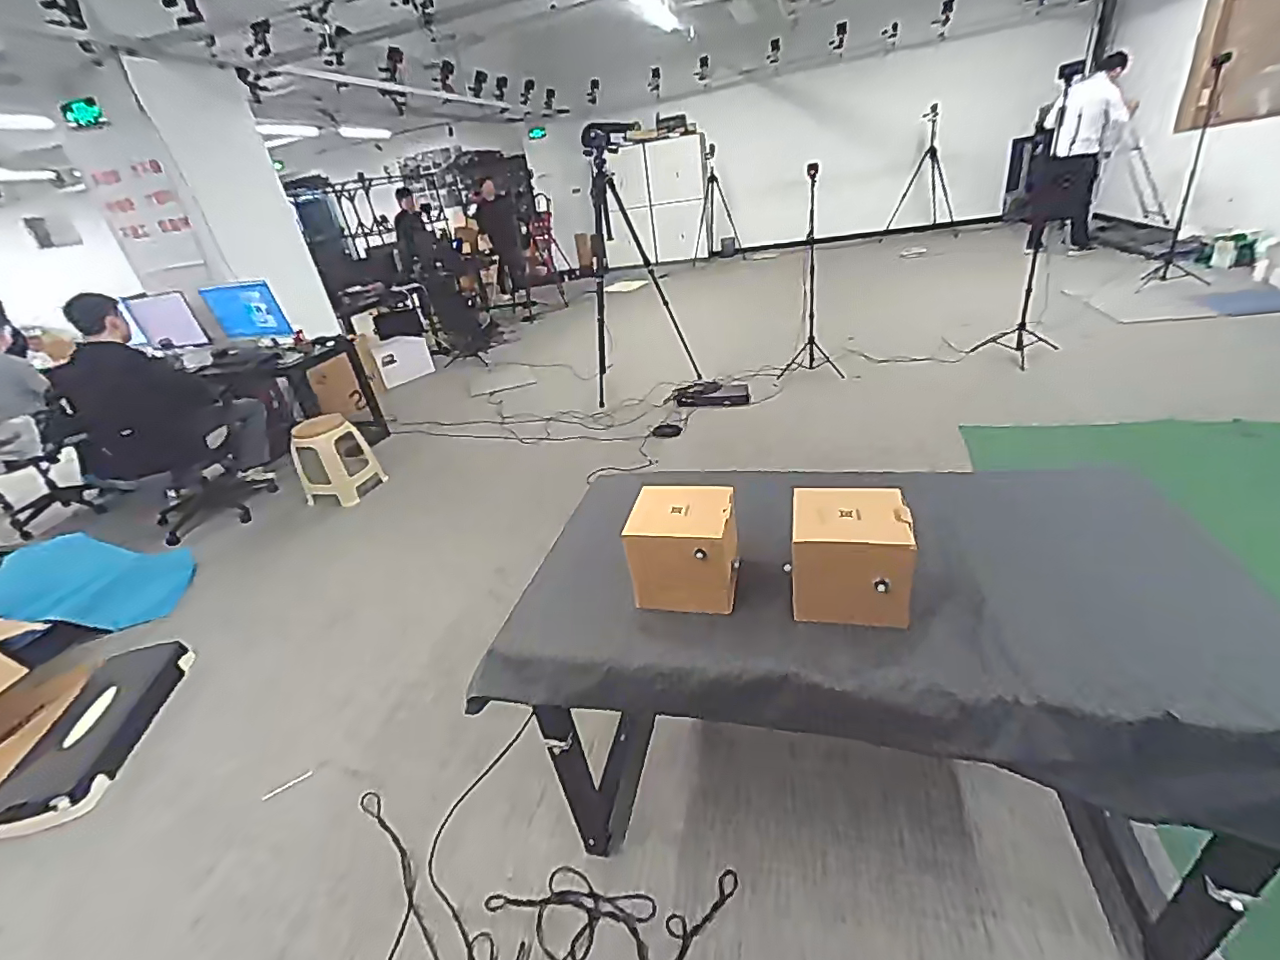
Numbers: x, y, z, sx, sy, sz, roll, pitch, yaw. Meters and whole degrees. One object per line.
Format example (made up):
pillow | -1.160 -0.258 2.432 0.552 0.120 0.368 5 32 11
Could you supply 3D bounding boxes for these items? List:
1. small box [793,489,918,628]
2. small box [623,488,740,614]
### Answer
small box | 0.351 0.129 0.906 0.179 0.176 0.168 -2 28 18
small box | 0.085 0.129 0.994 0.179 0.176 0.168 0 30 16
